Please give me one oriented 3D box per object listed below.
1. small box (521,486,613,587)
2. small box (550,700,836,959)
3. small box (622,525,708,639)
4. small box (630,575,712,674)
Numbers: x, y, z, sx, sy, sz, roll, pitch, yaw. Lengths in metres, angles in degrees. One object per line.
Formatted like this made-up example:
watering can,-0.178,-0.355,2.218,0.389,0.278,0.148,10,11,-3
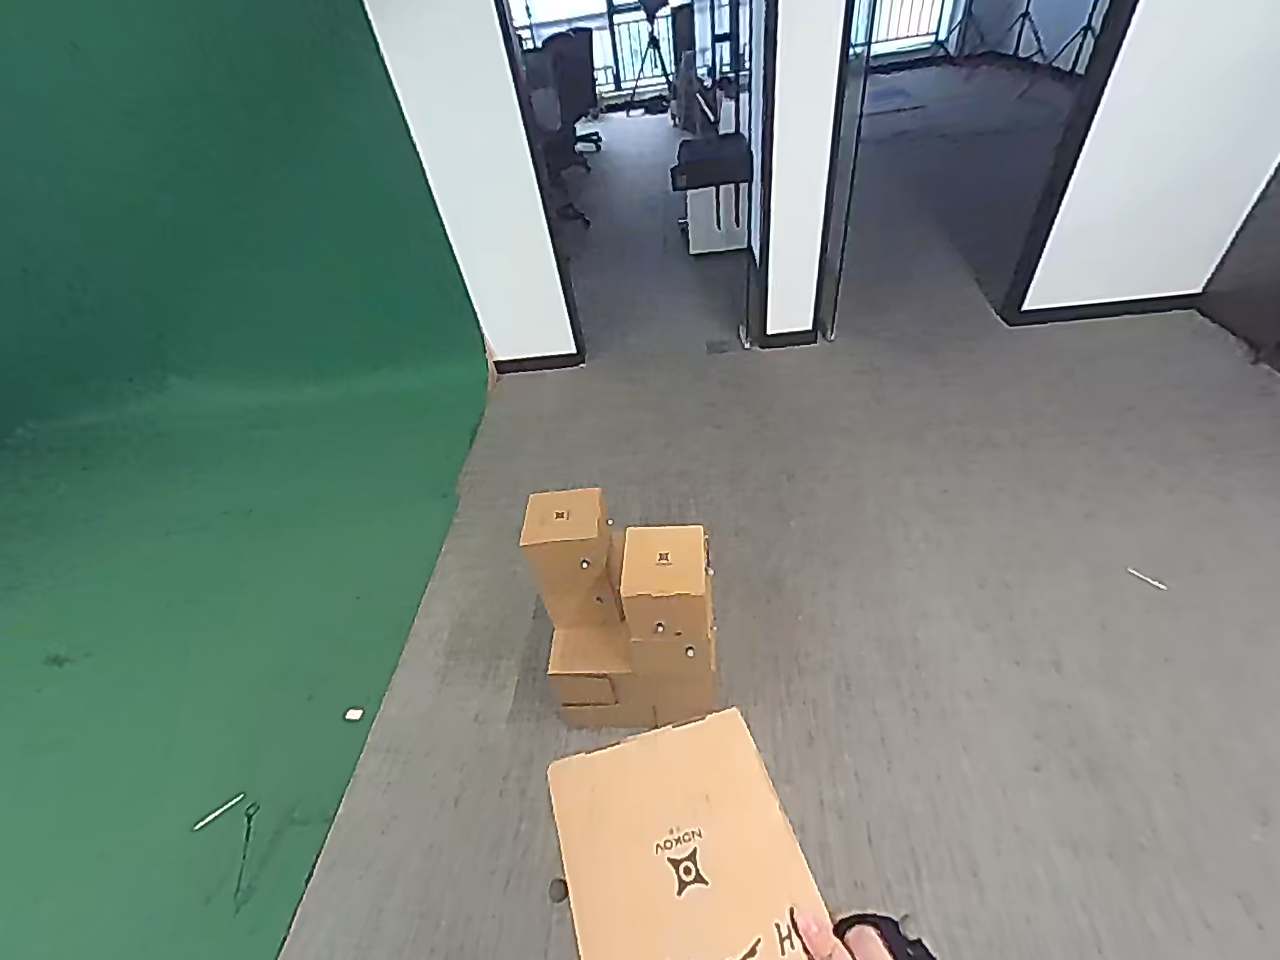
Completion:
small box,-0.162,0.135,1.275,0.179,0.176,0.168,-6,41,6
small box,0.021,0.314,0.443,0.168,0.176,0.179,-9,47,-14
small box,0.058,0.214,1.146,0.168,0.176,0.179,-2,44,7
small box,0.078,0.335,1.254,0.179,0.176,0.168,-3,43,7
